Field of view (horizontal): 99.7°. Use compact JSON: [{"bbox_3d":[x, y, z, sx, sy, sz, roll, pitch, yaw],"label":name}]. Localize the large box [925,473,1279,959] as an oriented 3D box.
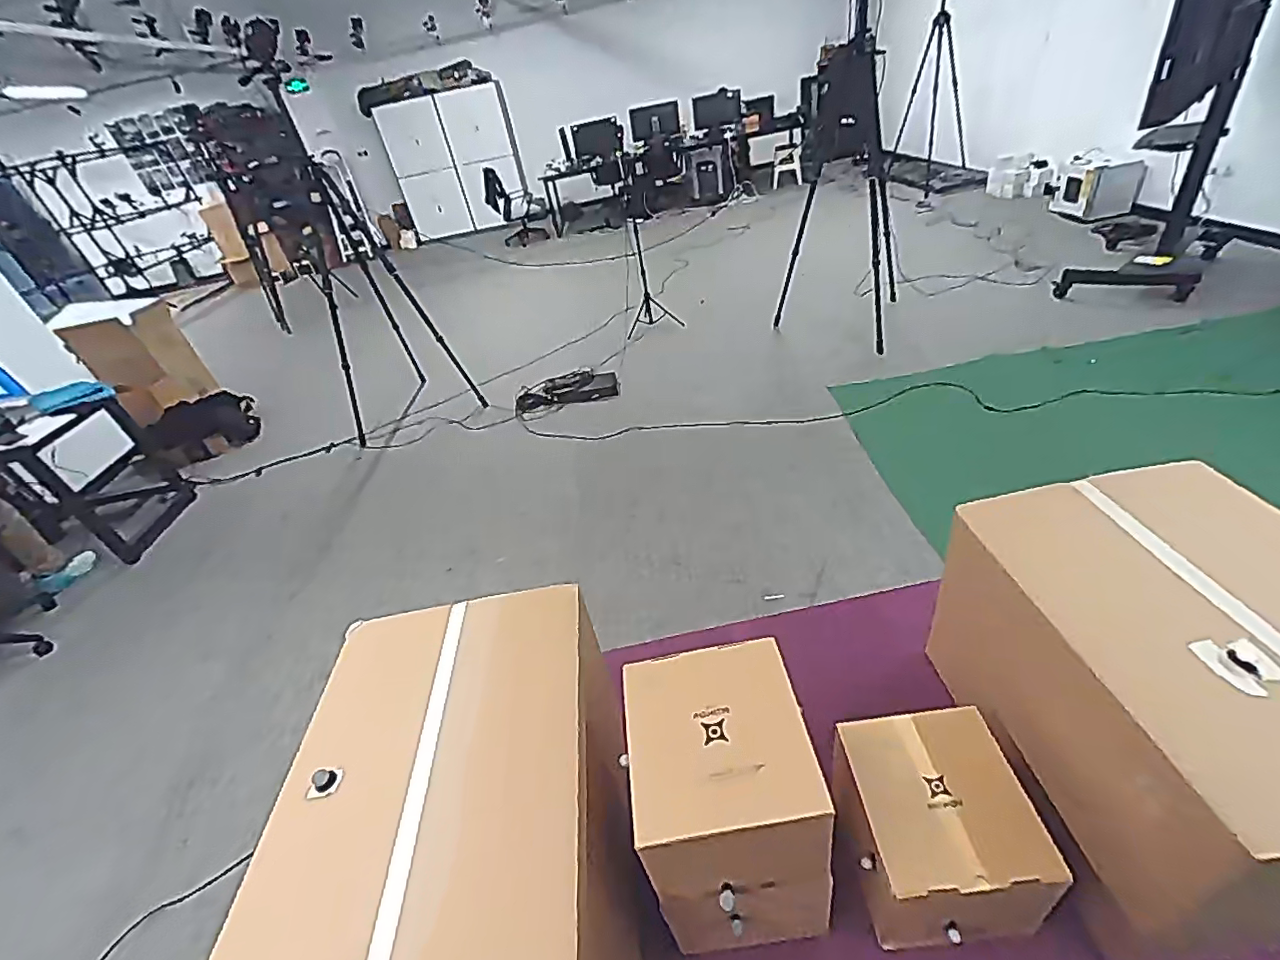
[{"bbox_3d":[0.602,0.249,0.632,0.320,0.320,0.408,-10,37,3],"label":"large box"}]
